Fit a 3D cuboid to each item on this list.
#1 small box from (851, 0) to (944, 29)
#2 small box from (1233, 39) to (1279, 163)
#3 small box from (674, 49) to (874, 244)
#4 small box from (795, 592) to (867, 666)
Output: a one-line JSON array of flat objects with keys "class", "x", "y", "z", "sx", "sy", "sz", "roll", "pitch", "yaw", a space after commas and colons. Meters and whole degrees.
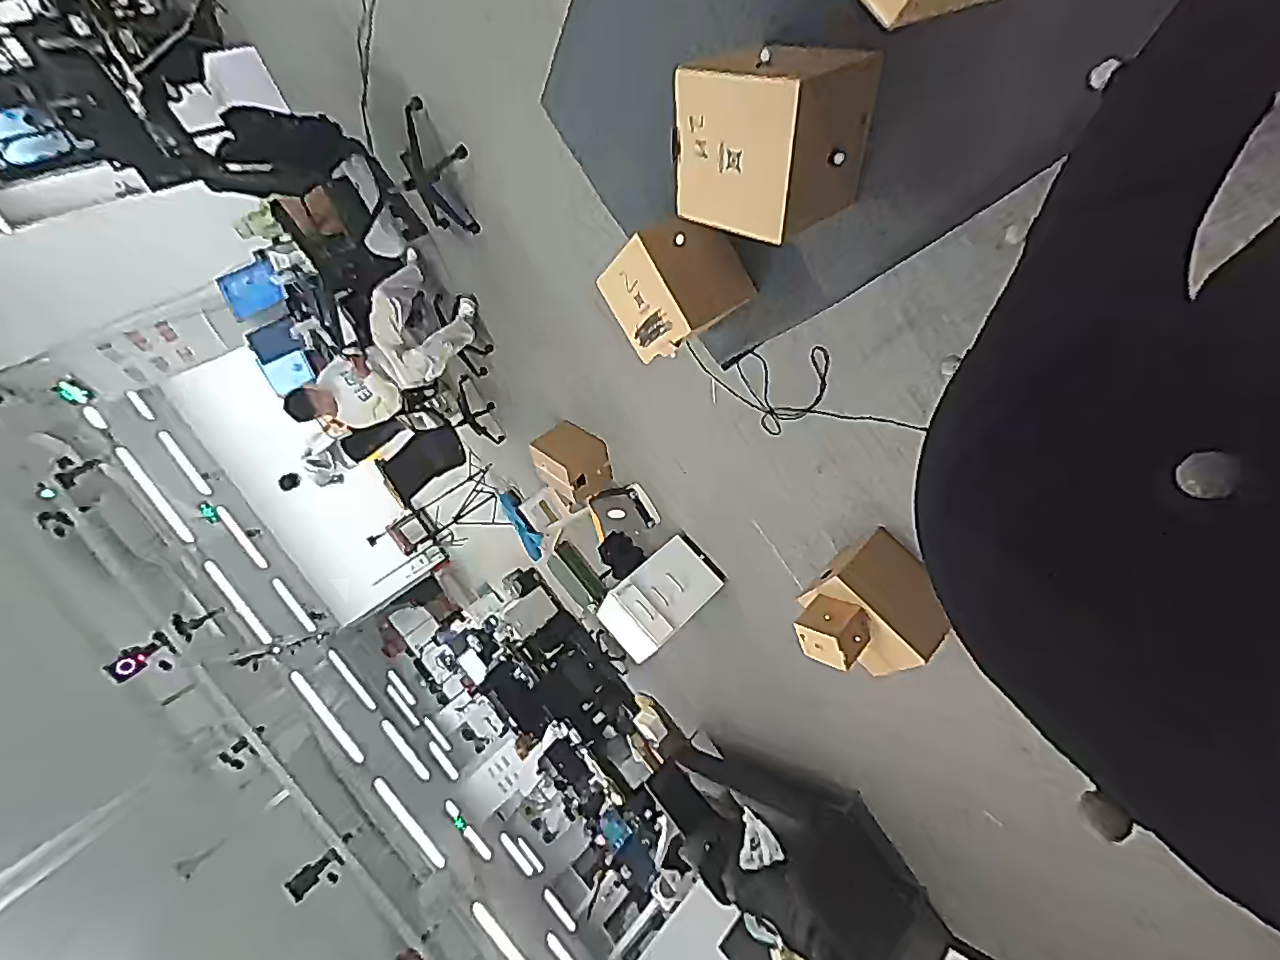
[{"class": "small box", "x": 0.187, "y": -0.411, "z": 0.302, "sx": 0.179, "sy": 0.176, "sz": 0.168, "roll": 53, "pitch": 154, "yaw": 0}, {"class": "small box", "x": 1.021, "y": -0.555, "z": 0.755, "sx": 0.176, "sy": 0.168, "sz": 0.179, "roll": 9, "pitch": 111, "yaw": 15}, {"class": "small box", "x": 0.163, "y": -0.427, "z": 0.683, "sx": 0.179, "sy": 0.176, "sz": 0.168, "roll": 34, "pitch": 147, "yaw": 32}, {"class": "small box", "x": 0.695, "y": 0.529, "z": 1.945, "sx": 0.179, "sy": 0.176, "sz": 0.168, "roll": 8, "pitch": 129, "yaw": 52}]
